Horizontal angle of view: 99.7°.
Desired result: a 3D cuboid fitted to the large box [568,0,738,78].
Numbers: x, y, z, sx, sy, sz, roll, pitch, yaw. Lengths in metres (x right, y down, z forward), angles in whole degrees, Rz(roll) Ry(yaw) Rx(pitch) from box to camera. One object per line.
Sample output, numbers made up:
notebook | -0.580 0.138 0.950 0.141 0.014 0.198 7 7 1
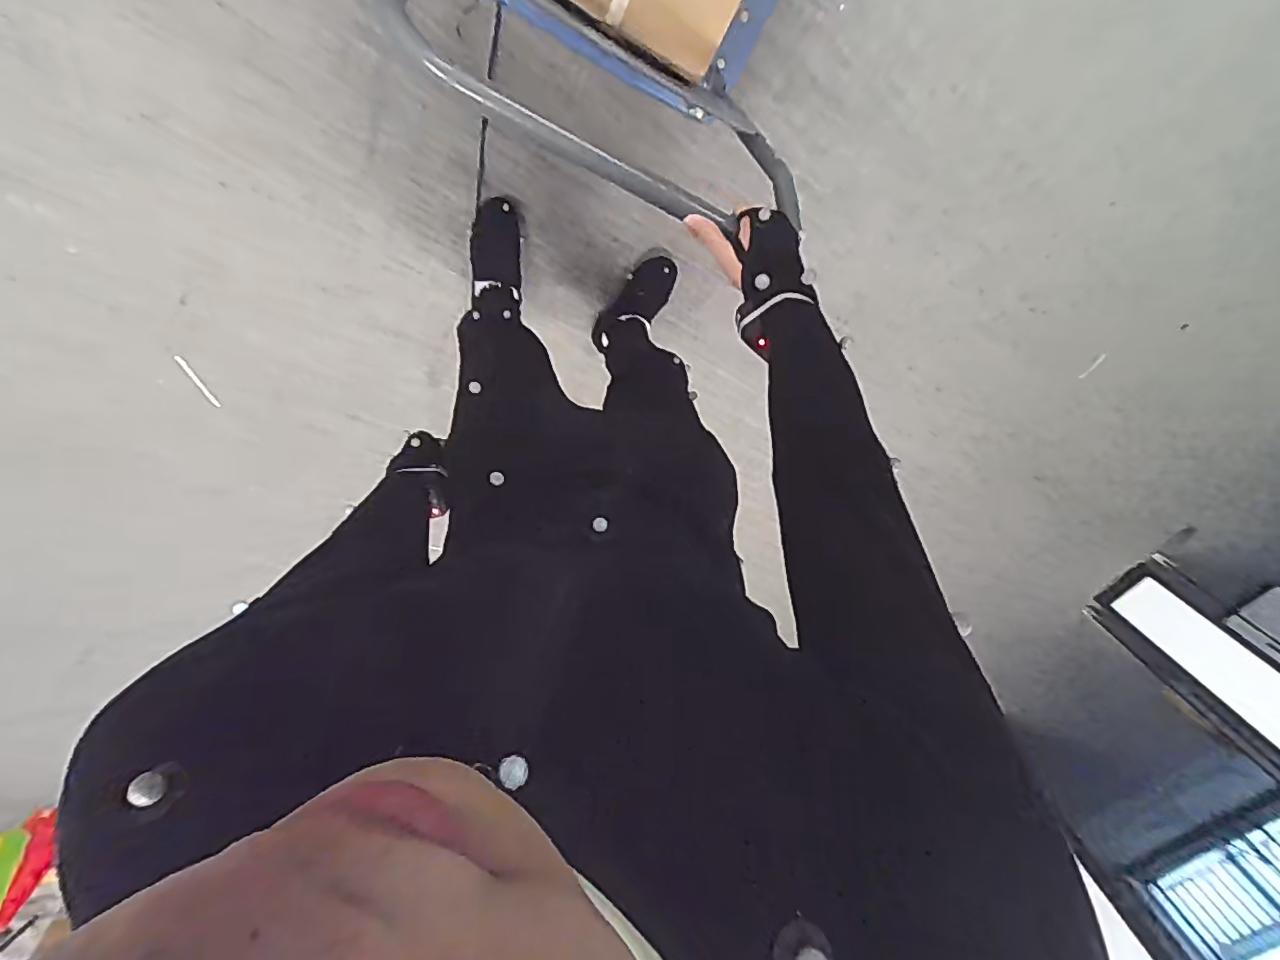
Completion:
large box | 0.028 -0.892 0.773 0.320 0.320 0.408 16 128 -25
